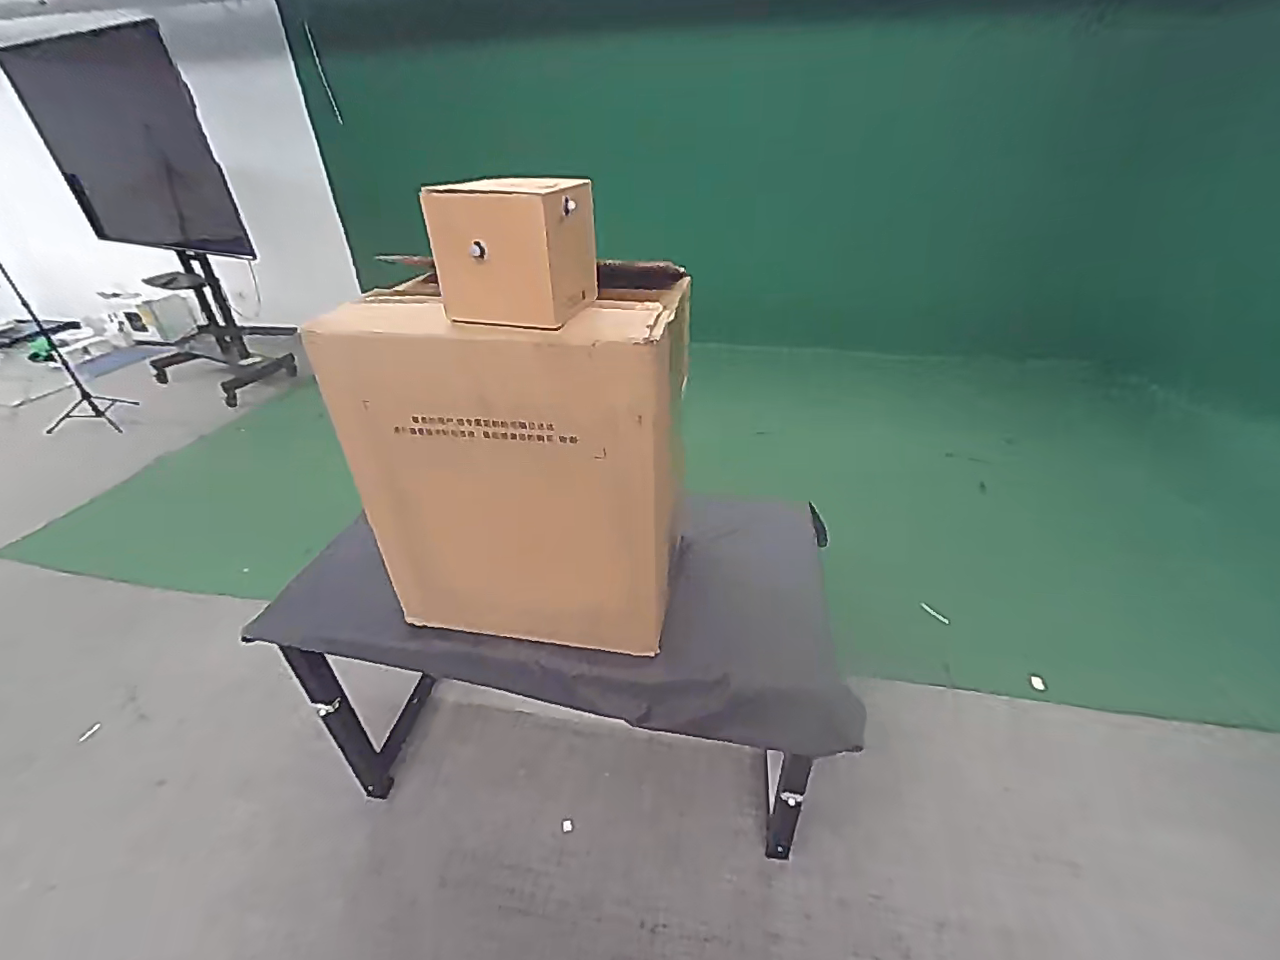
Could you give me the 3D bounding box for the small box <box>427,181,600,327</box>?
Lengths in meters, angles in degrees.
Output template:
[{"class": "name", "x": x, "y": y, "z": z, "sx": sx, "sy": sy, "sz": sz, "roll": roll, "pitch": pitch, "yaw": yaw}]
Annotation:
[{"class": "small box", "x": -0.169, "y": -0.328, "z": 0.781, "sx": 0.179, "sy": 0.176, "sz": 0.168, "roll": 9, "pitch": 35, "yaw": 15}]
